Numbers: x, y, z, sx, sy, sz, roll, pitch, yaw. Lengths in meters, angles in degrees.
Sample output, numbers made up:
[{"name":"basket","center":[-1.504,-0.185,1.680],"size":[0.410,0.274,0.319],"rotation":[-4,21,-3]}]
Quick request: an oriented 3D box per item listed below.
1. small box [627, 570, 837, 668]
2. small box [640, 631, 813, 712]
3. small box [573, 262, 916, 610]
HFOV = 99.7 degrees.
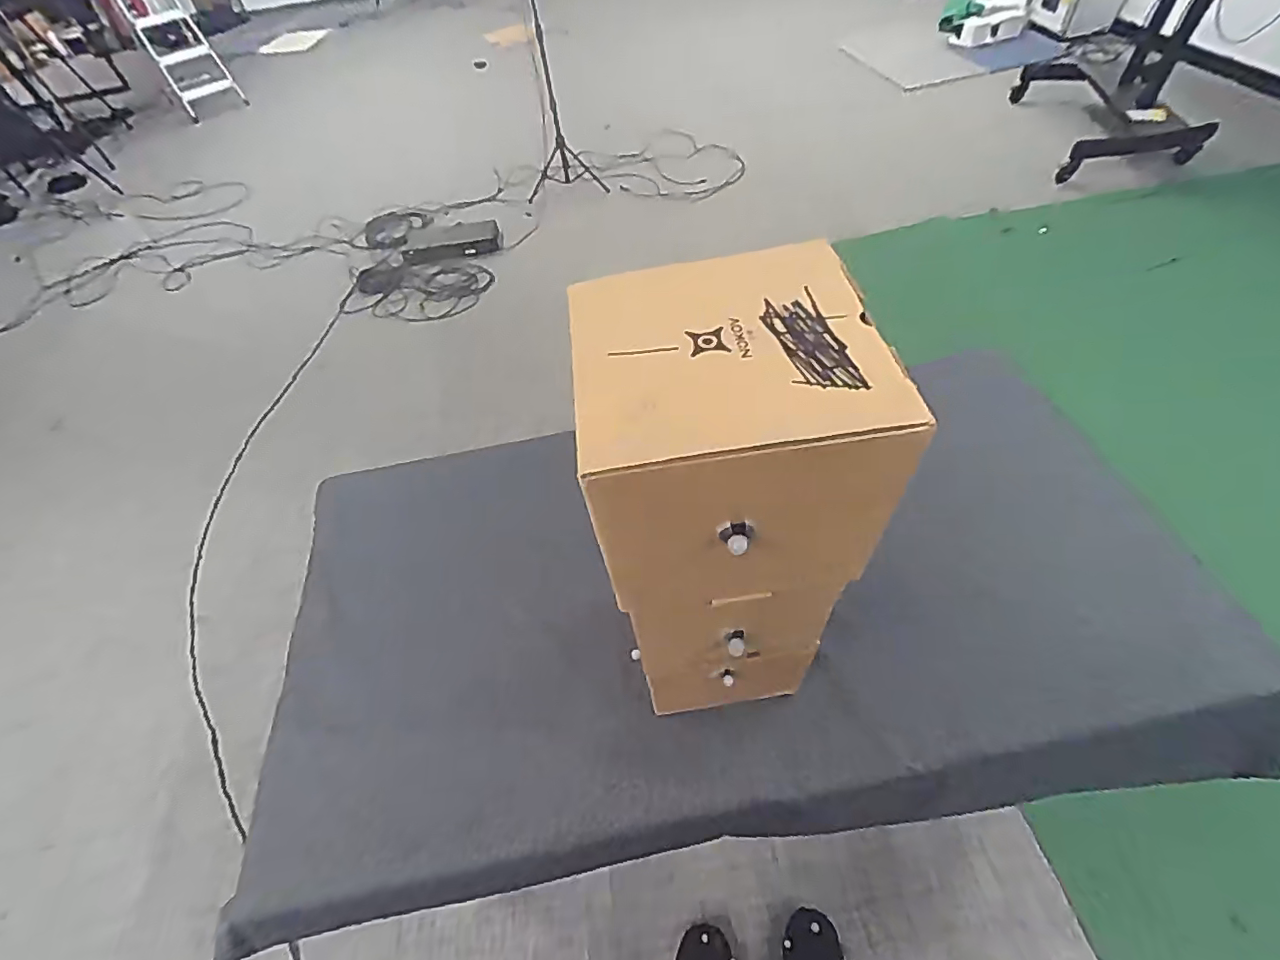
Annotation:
[{"name":"small box","center":[0.069,0.068,0.521],"size":[0.168,0.176,0.179],"rotation":[-9,53,0]},{"name":"small box","center":[0.087,0.165,0.652],"size":[0.179,0.176,0.168],"rotation":[-9,53,-2]},{"name":"small box","center":[0.055,-0.024,0.385],"size":[0.179,0.176,0.168],"rotation":[-9,52,1]}]
